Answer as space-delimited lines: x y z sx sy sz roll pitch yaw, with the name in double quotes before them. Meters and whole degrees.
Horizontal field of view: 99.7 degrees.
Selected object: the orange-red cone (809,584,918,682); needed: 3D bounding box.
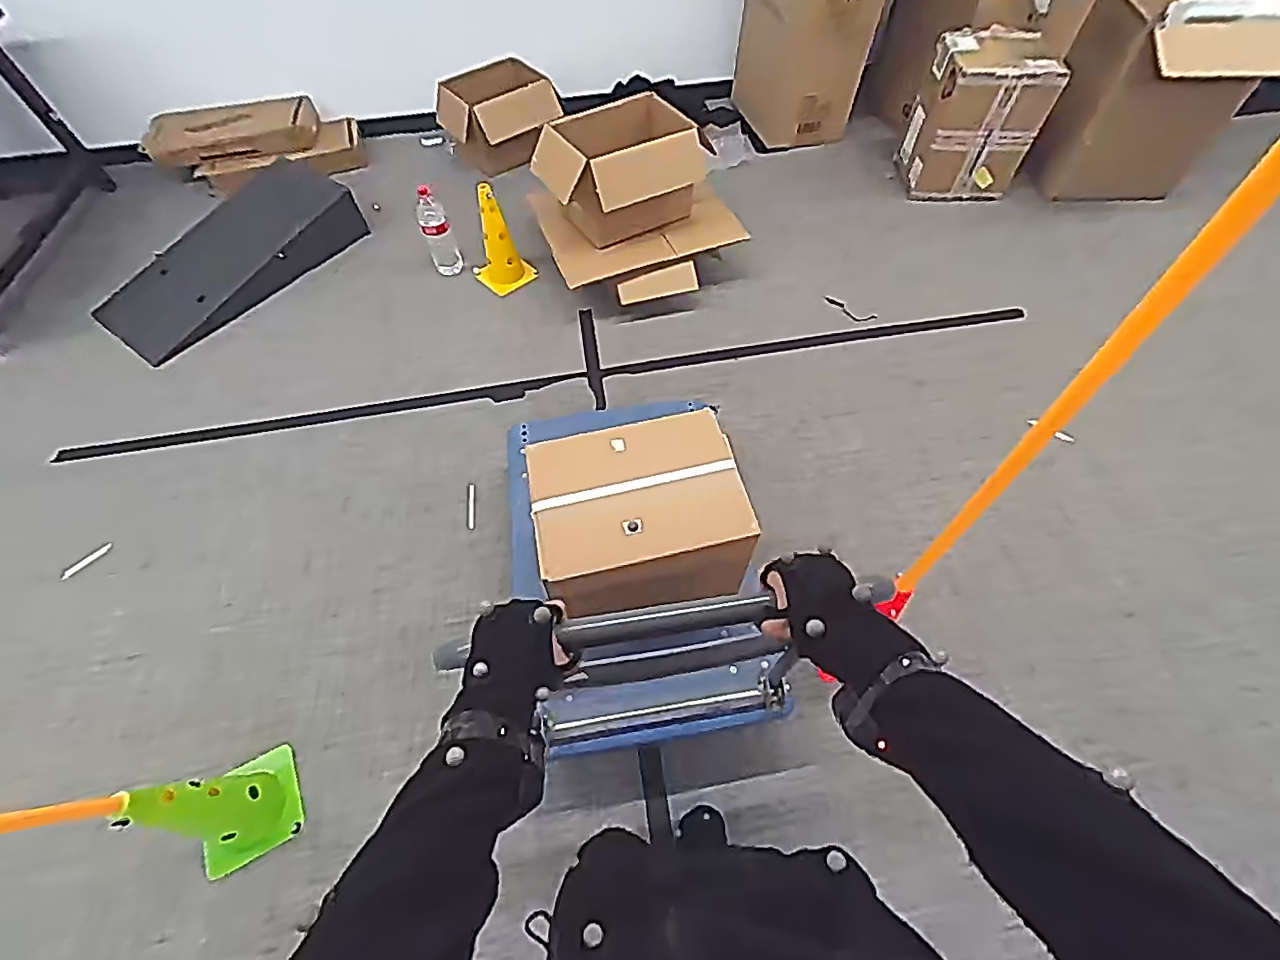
"orange-red cone" 0.531 0.311 1.208 0.199 0.360 0.198 -3 58 -1
